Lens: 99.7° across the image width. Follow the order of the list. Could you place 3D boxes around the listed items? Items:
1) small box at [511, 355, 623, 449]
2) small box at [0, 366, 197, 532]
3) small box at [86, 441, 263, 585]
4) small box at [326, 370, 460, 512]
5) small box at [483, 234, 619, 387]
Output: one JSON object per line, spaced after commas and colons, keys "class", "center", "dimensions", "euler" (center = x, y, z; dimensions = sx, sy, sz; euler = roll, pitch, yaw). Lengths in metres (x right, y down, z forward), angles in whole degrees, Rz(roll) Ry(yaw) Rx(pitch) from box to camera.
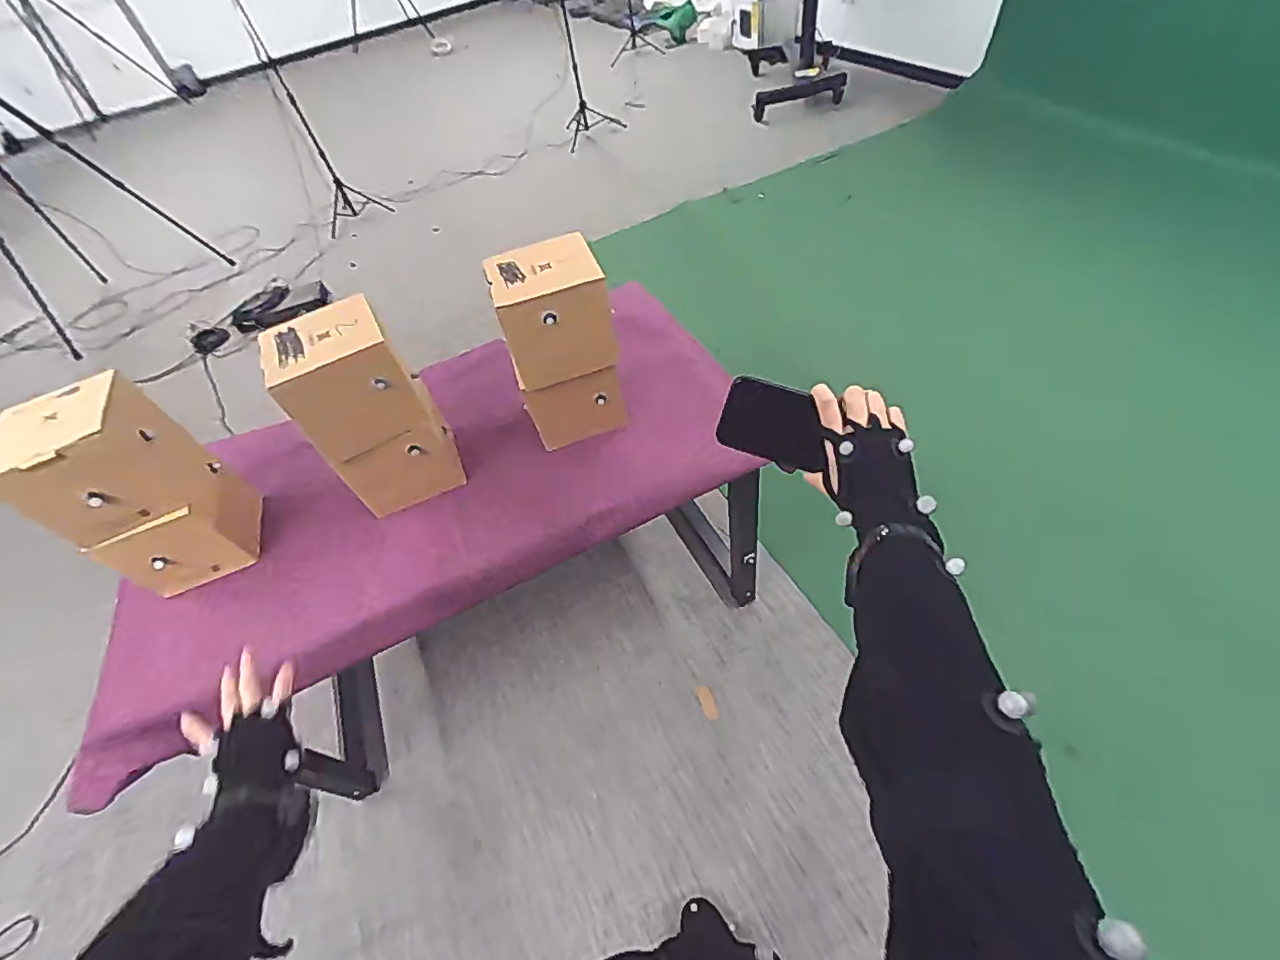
{"class": "small box", "center": [-0.139, -0.191, 1.059], "dimensions": [0.179, 0.176, 0.168], "euler": [-19, 50, -3]}
{"class": "small box", "center": [-0.846, -0.040, 0.853], "dimensions": [0.168, 0.176, 0.179], "euler": [-26, 53, -12]}
{"class": "small box", "center": [-0.819, 0.067, 0.975], "dimensions": [0.168, 0.176, 0.179], "euler": [-23, 51, -8]}
{"class": "small box", "center": [-0.455, -0.070, 1.017], "dimensions": [0.179, 0.176, 0.168], "euler": [-23, 51, -8]}
{"class": "small box", "center": [-0.149, -0.285, 0.924], "dimensions": [0.179, 0.176, 0.168], "euler": [-18, 51, -5]}
